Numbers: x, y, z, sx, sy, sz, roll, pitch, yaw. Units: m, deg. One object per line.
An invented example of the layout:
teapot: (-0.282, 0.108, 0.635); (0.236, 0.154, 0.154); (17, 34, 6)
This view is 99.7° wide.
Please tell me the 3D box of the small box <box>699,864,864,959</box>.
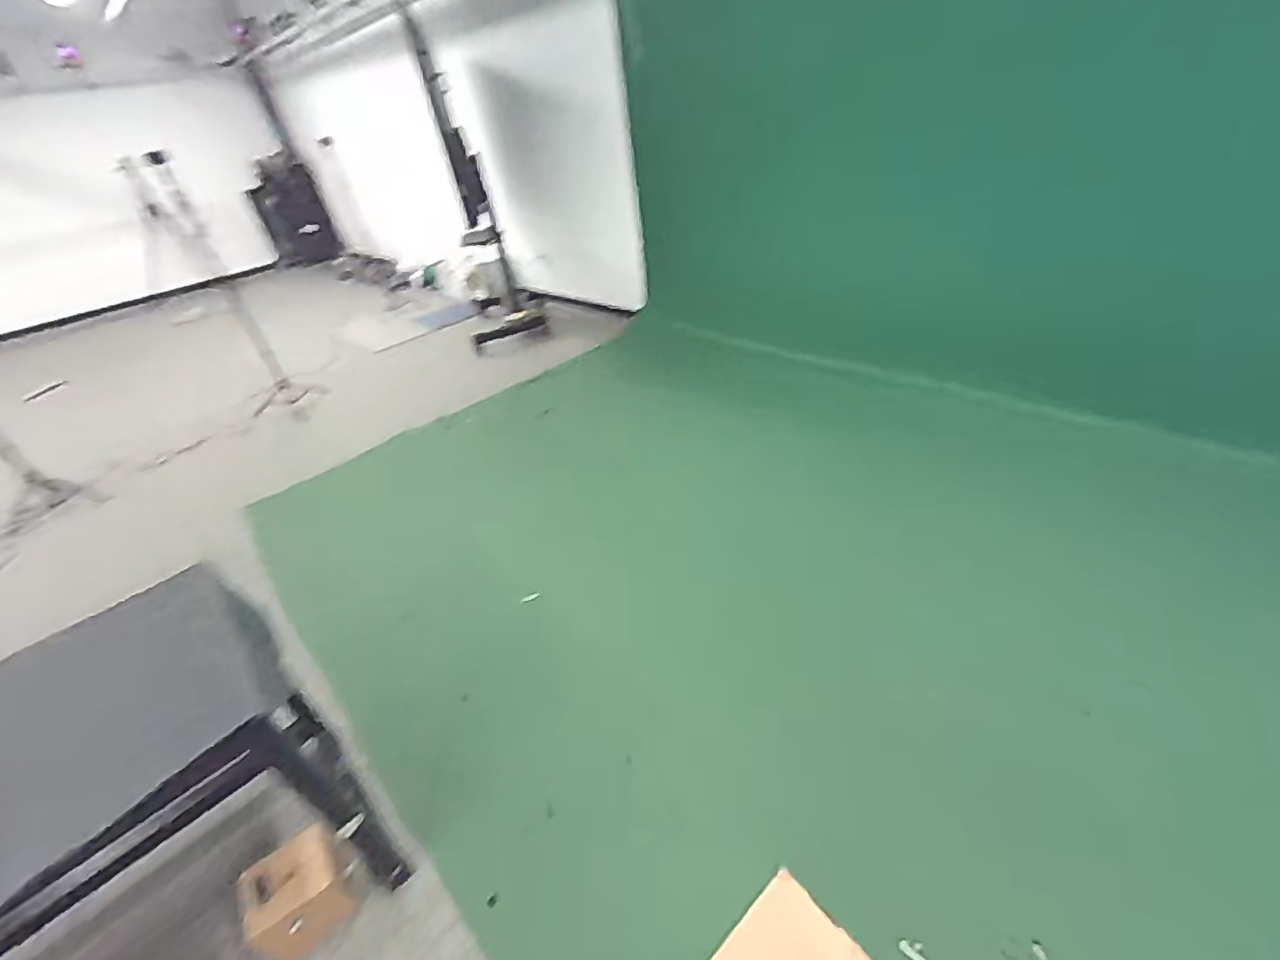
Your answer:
small box: (0.125, 0.484, 0.463); (0.179, 0.176, 0.168); (-38, 51, -23)

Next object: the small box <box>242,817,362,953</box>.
small box: (-0.799, 0.962, 1.284); (0.179, 0.176, 0.168); (-29, 41, -27)
